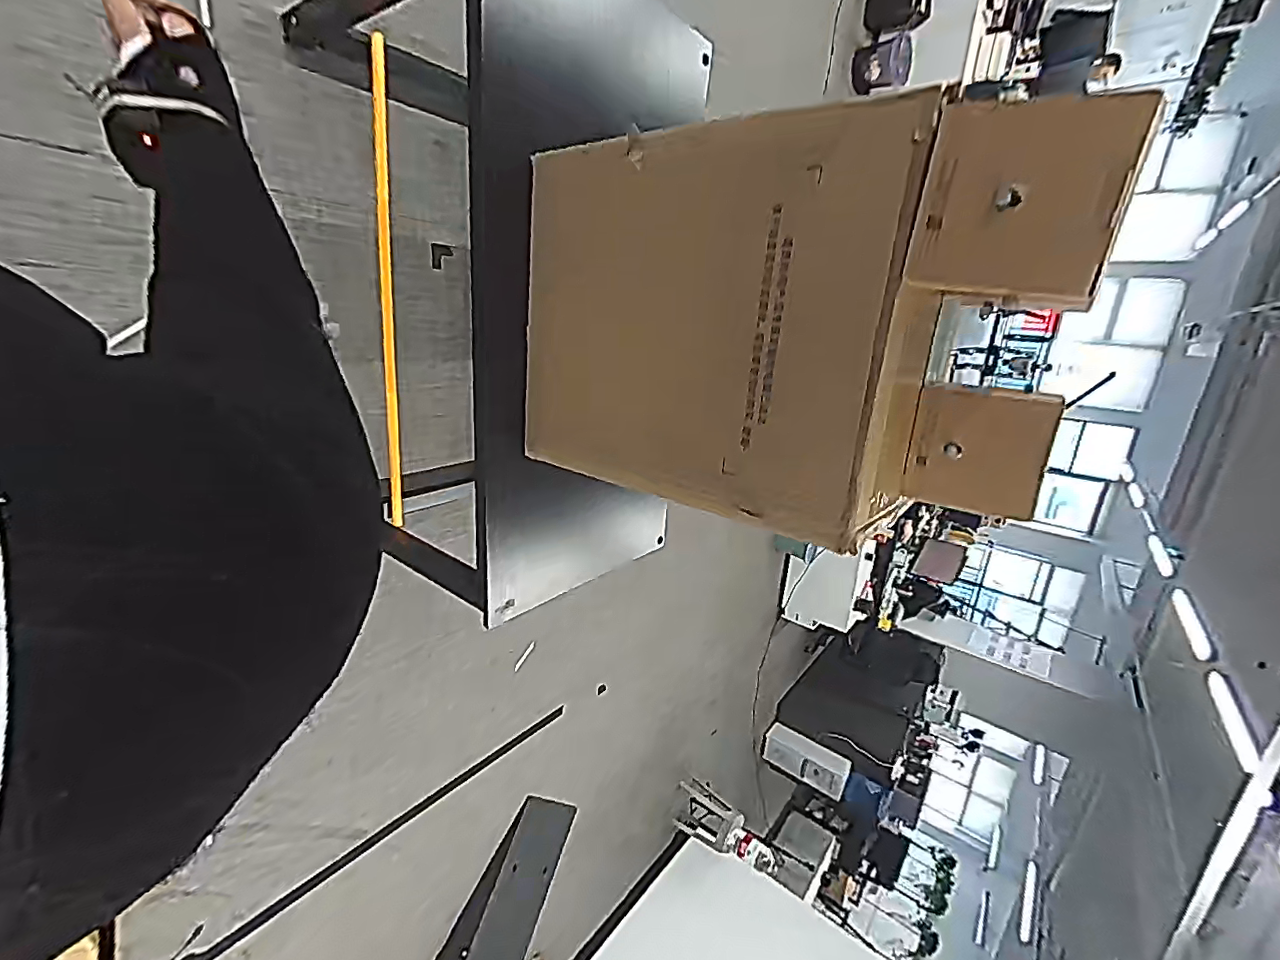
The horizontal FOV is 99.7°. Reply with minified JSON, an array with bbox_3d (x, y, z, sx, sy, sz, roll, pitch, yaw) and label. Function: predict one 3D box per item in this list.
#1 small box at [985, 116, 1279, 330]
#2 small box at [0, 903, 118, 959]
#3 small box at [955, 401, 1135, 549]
[{"bbox_3d":[0.478,-0.248,0.552,0.179,0.176,0.168,-20,123,-46],"label":"small box"},{"bbox_3d":[-1.225,1.056,1.136,0.168,0.176,0.179,-25,122,-48],"label":"small box"},{"bbox_3d":[0.585,-0.021,0.799,0.179,0.176,0.168,-19,118,-52],"label":"small box"}]
